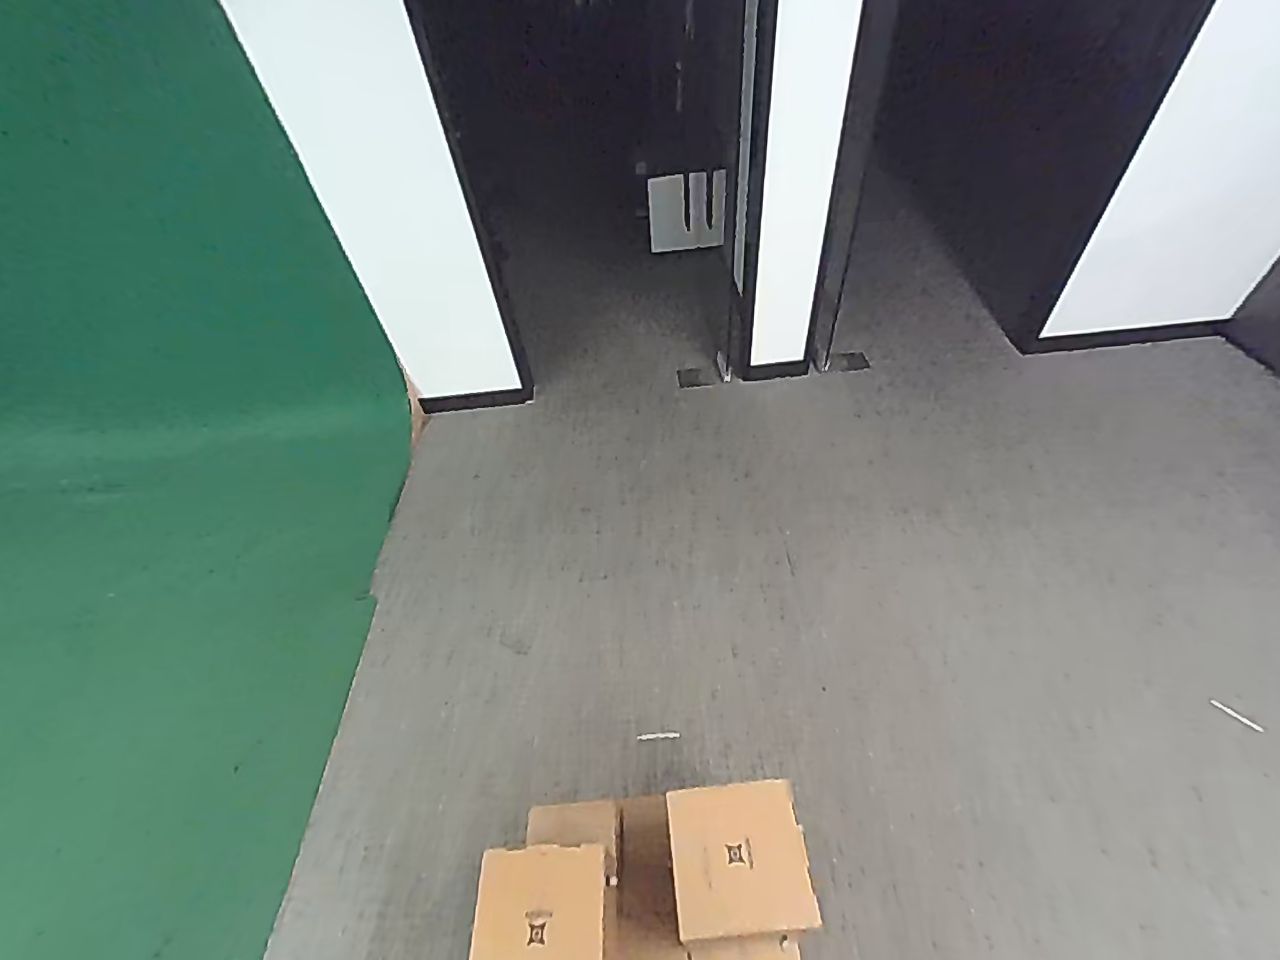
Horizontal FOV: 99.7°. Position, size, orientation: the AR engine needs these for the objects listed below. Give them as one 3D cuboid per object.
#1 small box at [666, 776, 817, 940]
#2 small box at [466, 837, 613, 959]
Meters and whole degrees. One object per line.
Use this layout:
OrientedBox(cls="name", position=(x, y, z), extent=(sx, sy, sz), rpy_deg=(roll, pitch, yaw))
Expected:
OrientedBox(cls="small box", position=(0.134, 0.539, 0.769), extent=(0.179, 0.176, 0.168), rpy_deg=(-7, 46, 3))
OrientedBox(cls="small box", position=(-0.126, 0.604, 0.739), extent=(0.168, 0.176, 0.179), rpy_deg=(-3, 49, 2))
